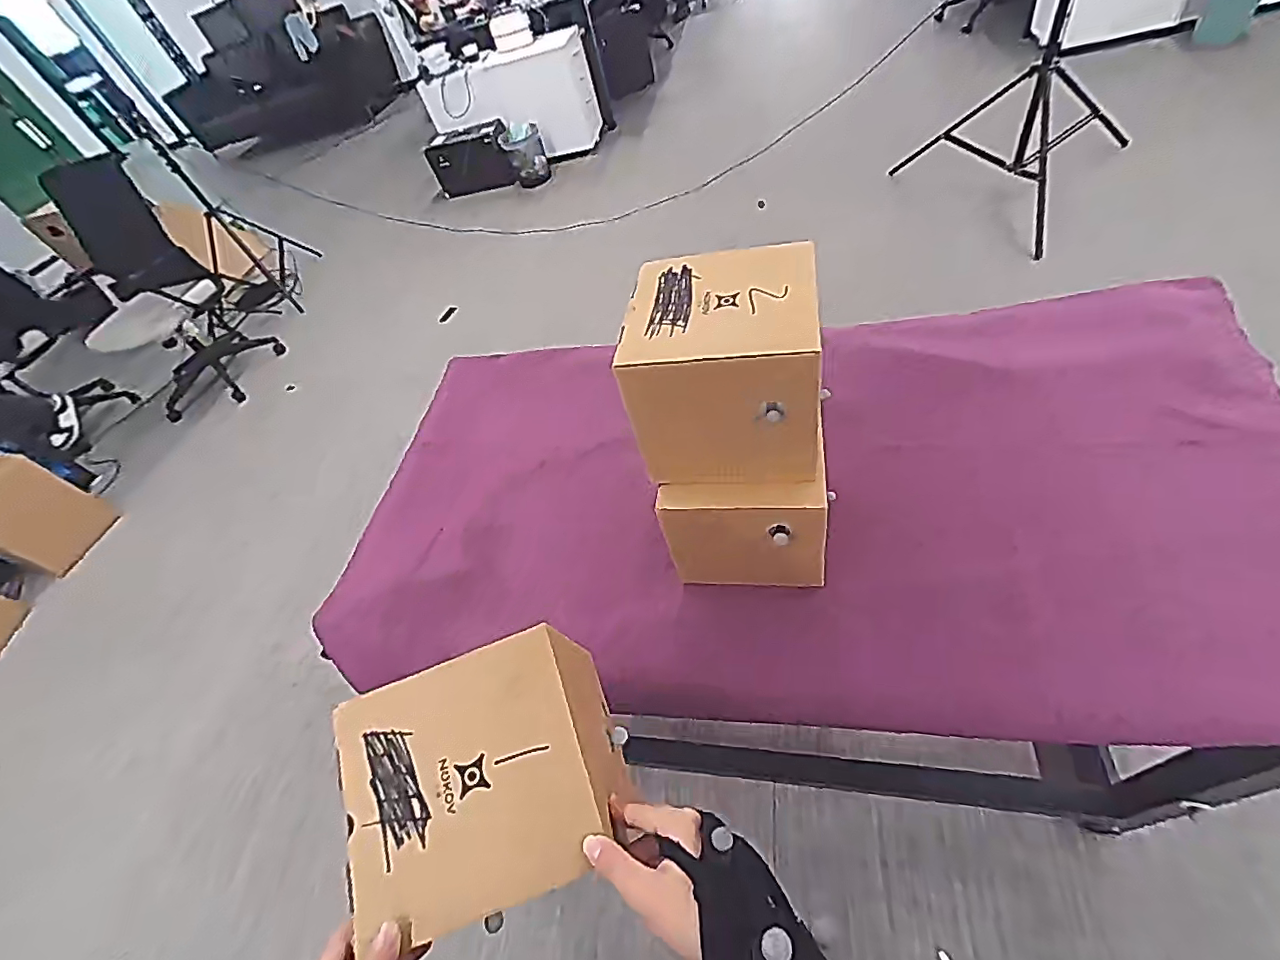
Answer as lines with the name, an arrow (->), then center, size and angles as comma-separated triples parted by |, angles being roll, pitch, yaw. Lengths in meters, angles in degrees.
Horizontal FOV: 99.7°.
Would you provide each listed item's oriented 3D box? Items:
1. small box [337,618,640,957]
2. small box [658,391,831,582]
small box -> -0.113, 0.238, 0.447 | 0.179, 0.176, 0.168 | -21, 63, -4
small box -> 0.132, 0.013, 0.657 | 0.179, 0.176, 0.168 | -2, 51, 16
